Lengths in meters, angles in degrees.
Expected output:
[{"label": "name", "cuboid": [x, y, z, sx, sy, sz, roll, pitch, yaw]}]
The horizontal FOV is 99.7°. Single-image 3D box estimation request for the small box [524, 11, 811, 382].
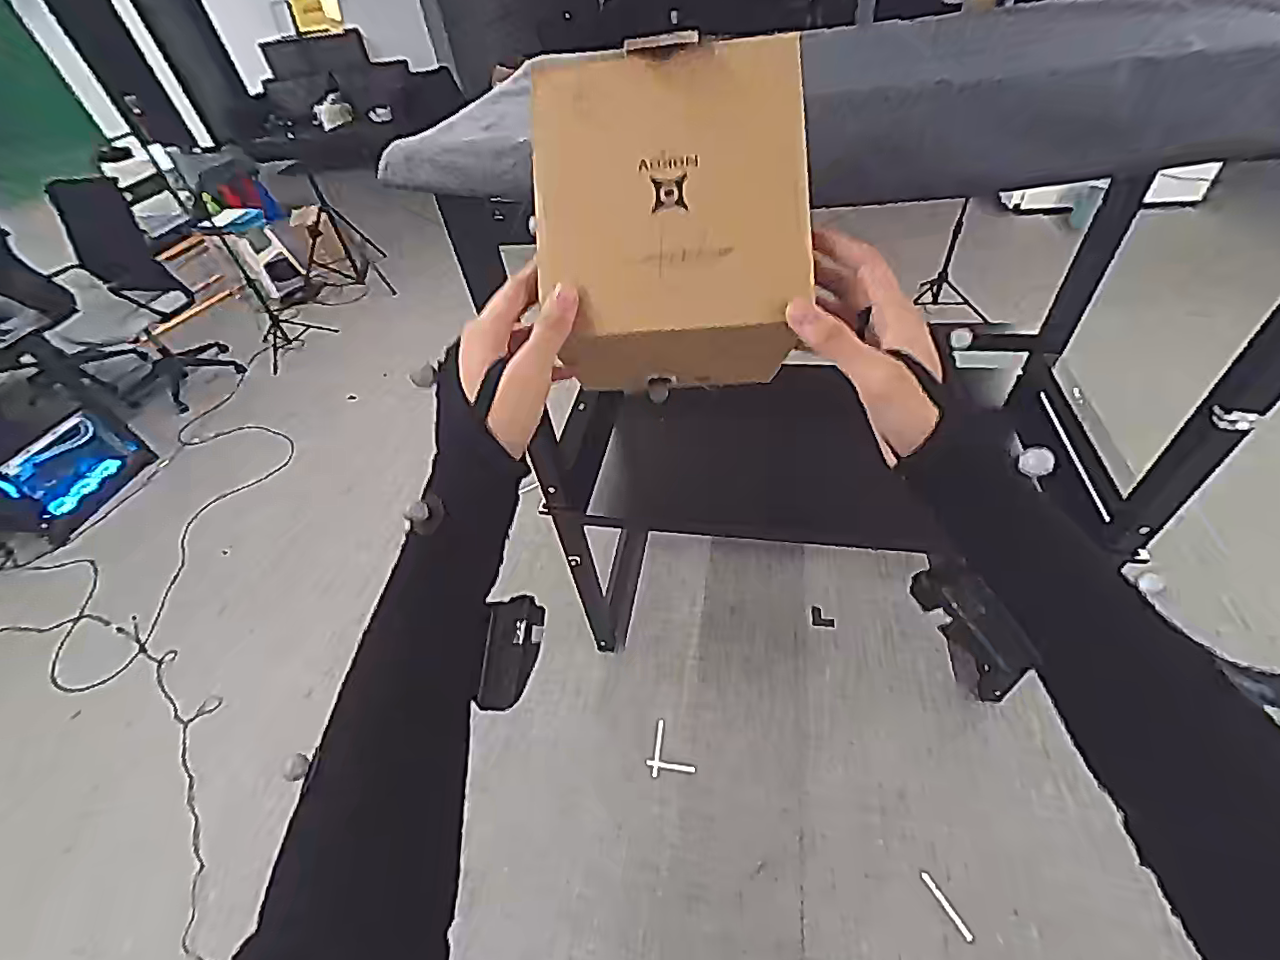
[{"label": "small box", "cuboid": [0.019, -0.179, 0.395, 0.168, 0.176, 0.179, -3, 88, 5]}]
